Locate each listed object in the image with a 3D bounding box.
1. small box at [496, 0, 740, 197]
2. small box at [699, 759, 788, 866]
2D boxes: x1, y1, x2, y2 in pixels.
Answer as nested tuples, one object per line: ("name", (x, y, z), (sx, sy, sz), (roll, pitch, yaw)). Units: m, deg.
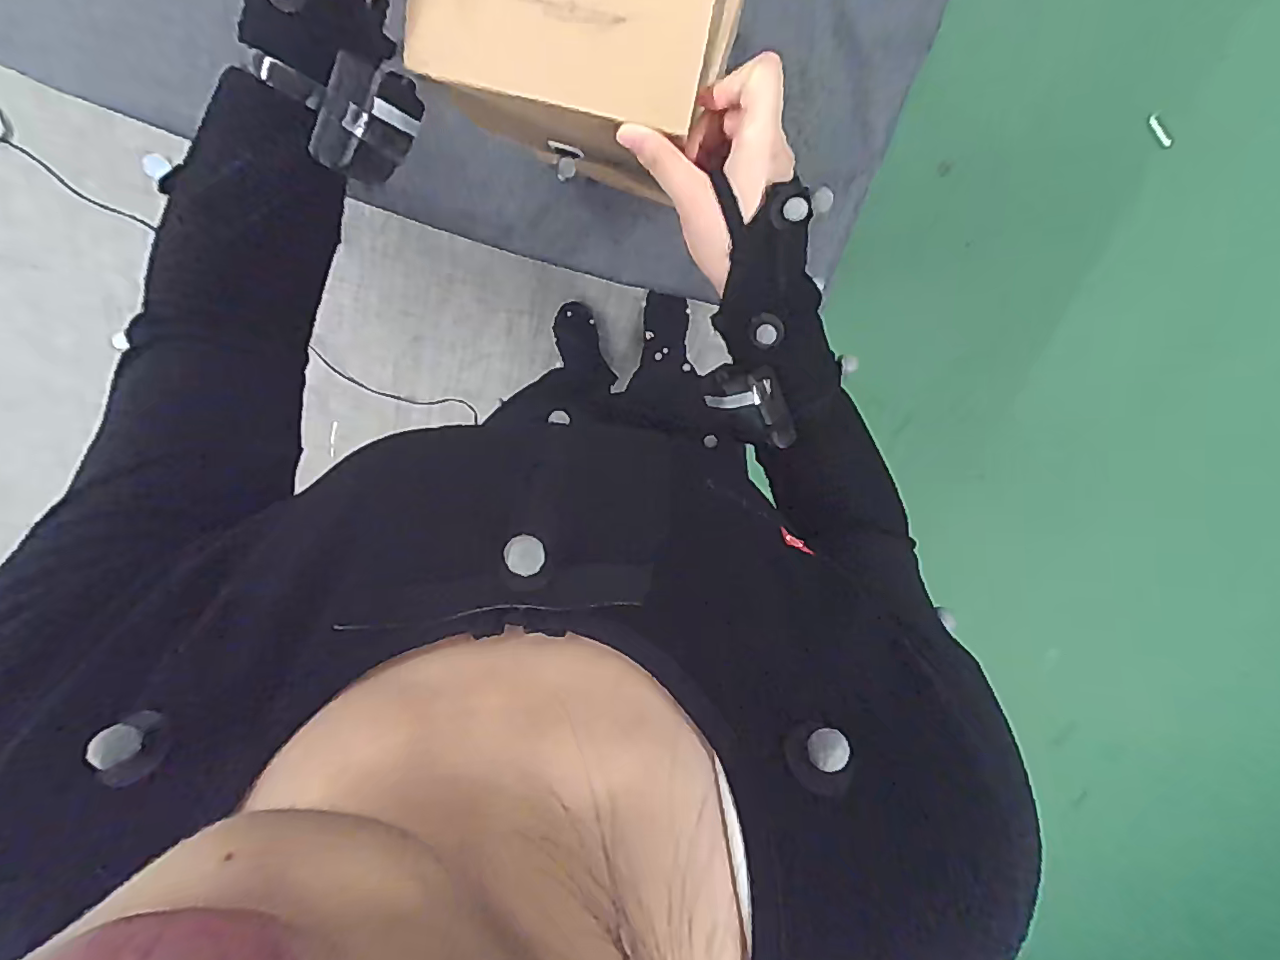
("small box", (-0.011, -0.381, 0.494), (0.168, 0.176, 0.179), (18, 110, -3))
("small box", (0.272, 0.891, 1.461), (0.179, 0.176, 0.168), (21, 114, -6))
